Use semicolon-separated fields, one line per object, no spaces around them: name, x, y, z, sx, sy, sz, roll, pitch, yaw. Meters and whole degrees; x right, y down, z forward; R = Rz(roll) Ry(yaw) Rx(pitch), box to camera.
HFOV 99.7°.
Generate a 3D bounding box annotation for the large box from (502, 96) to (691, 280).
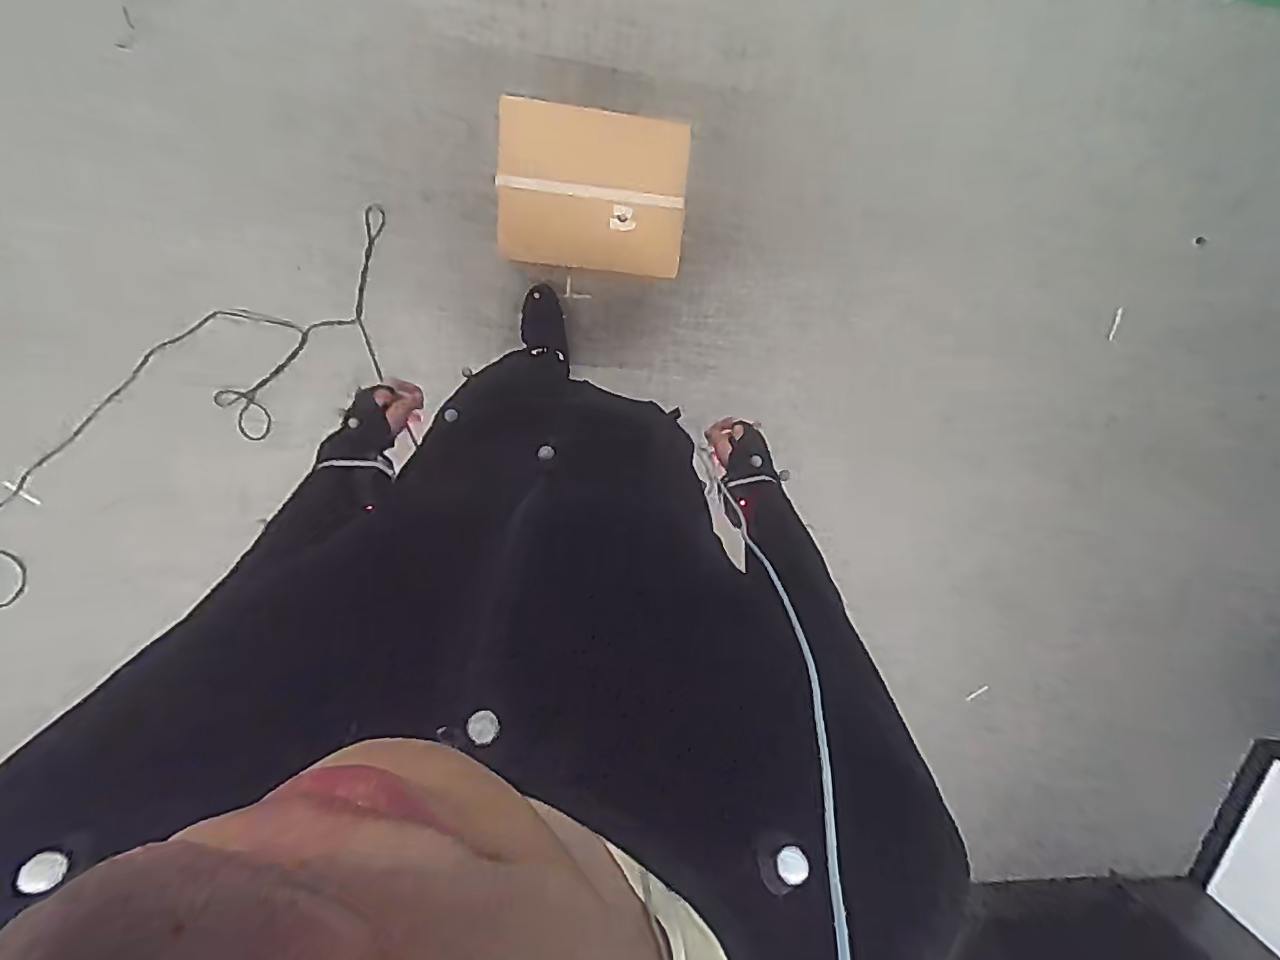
large box;-0.117;-0.673;1.312;0.408;0.320;0.320;2;107;-9
